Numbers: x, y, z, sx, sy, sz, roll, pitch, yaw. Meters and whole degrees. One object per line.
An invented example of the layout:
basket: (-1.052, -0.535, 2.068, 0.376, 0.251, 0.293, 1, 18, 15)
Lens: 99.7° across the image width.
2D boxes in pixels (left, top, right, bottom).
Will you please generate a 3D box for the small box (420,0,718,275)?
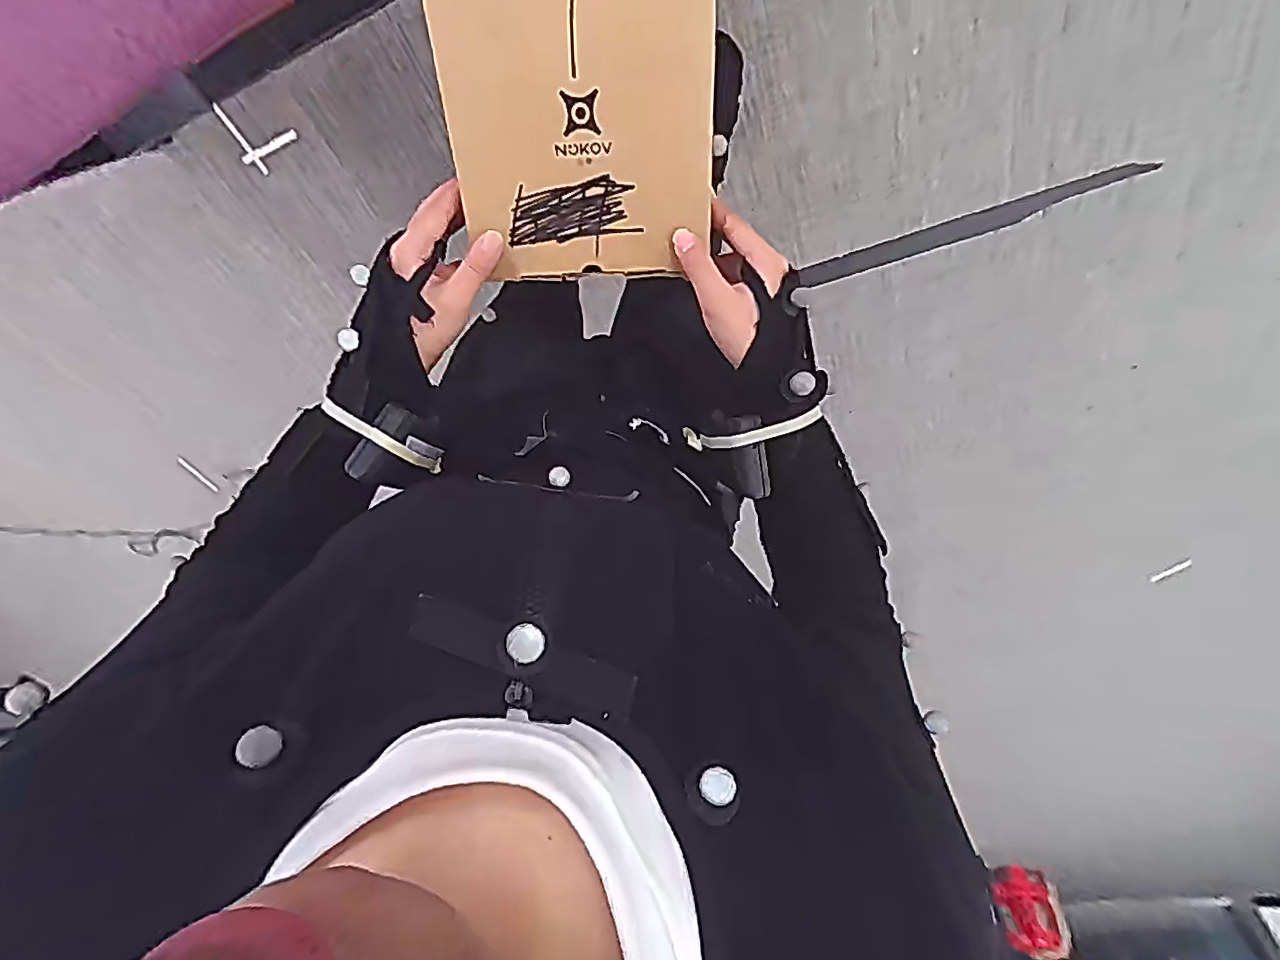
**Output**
small box: (-0.035, -0.258, 0.390, 0.168, 0.176, 0.179, -2, 122, 2)
